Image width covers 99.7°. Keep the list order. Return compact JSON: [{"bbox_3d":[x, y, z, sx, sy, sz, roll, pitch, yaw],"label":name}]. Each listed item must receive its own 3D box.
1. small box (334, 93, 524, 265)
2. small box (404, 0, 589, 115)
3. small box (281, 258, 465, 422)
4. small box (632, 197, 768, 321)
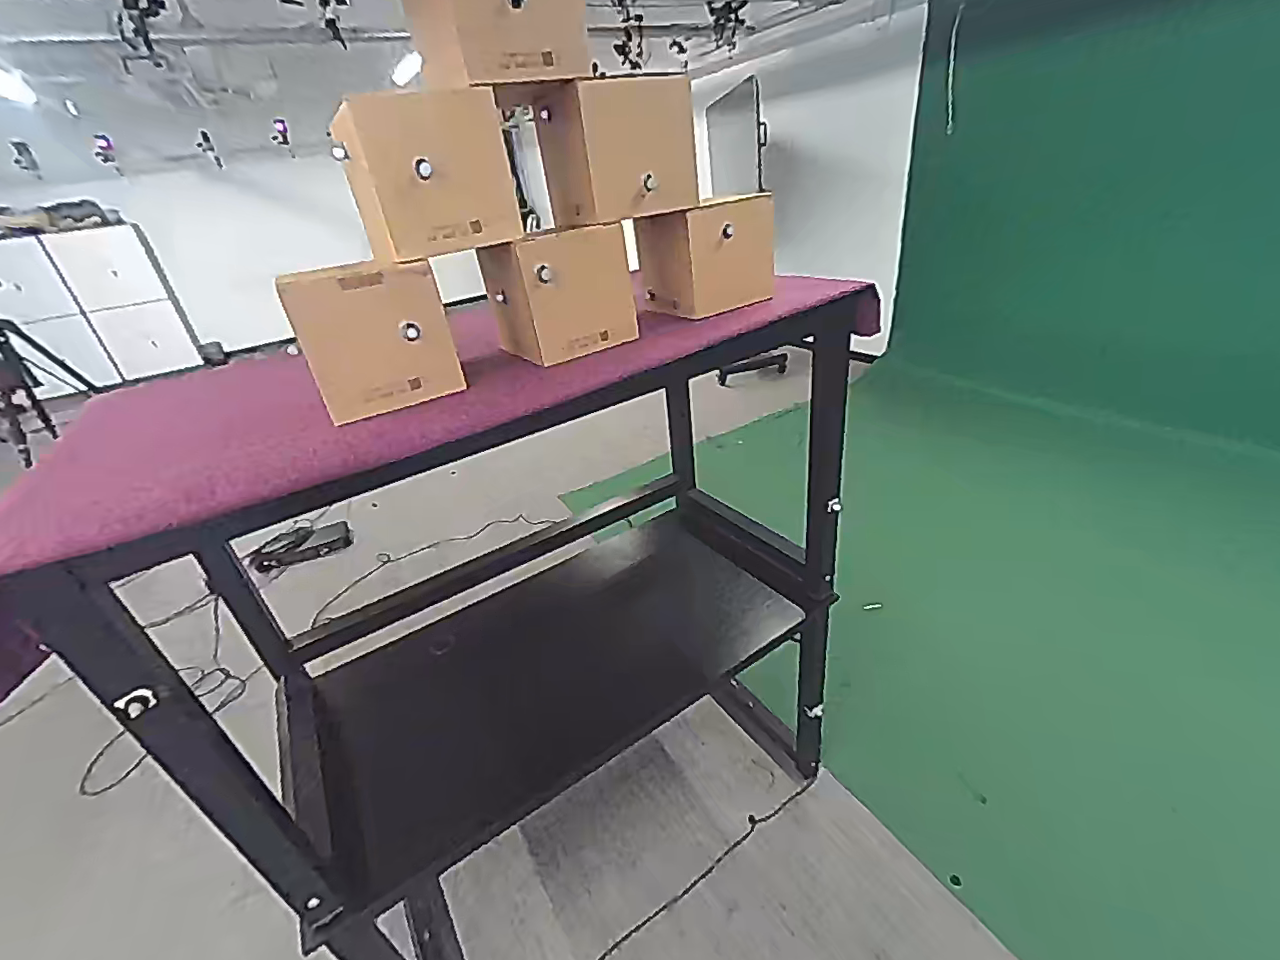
[{"bbox_3d":[-0.270,-0.379,0.703,0.168,0.176,0.179,-24,32,-25],"label":"small box"},{"bbox_3d":[-0.181,-0.571,0.679,0.168,0.176,0.179,-24,32,-25],"label":"small box"},{"bbox_3d":[-0.348,-0.189,0.717,0.168,0.176,0.179,-21,31,-24],"label":"small box"},{"bbox_3d":[0.111,-0.388,0.951,0.179,0.176,0.168,-23,32,-25],"label":"small box"}]
